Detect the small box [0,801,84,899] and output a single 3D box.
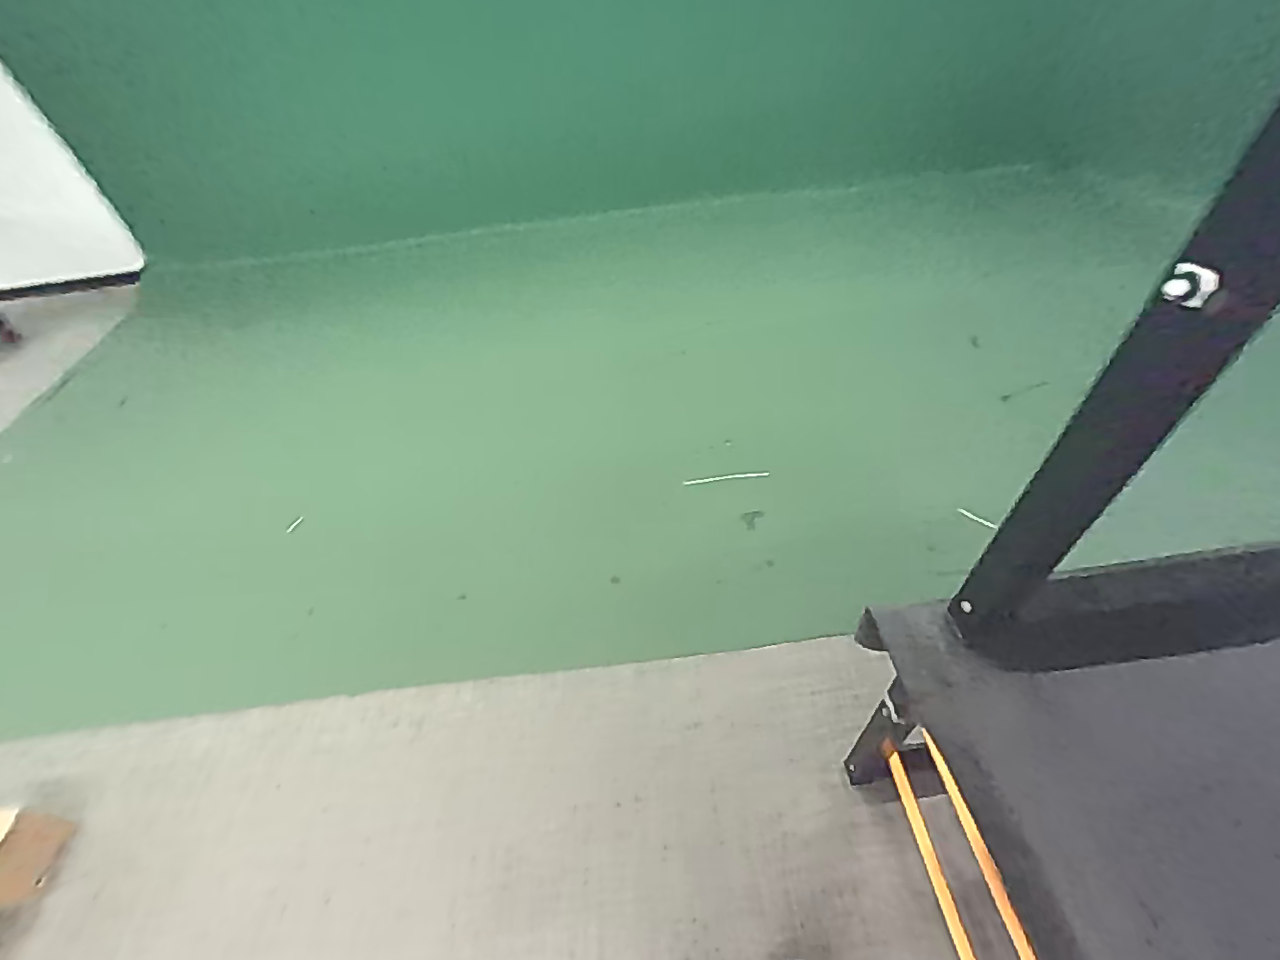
[{"bbox_3d":[-1.510,0.883,1.284,0.179,0.176,0.168,-8,47,0],"label":"small box"}]
